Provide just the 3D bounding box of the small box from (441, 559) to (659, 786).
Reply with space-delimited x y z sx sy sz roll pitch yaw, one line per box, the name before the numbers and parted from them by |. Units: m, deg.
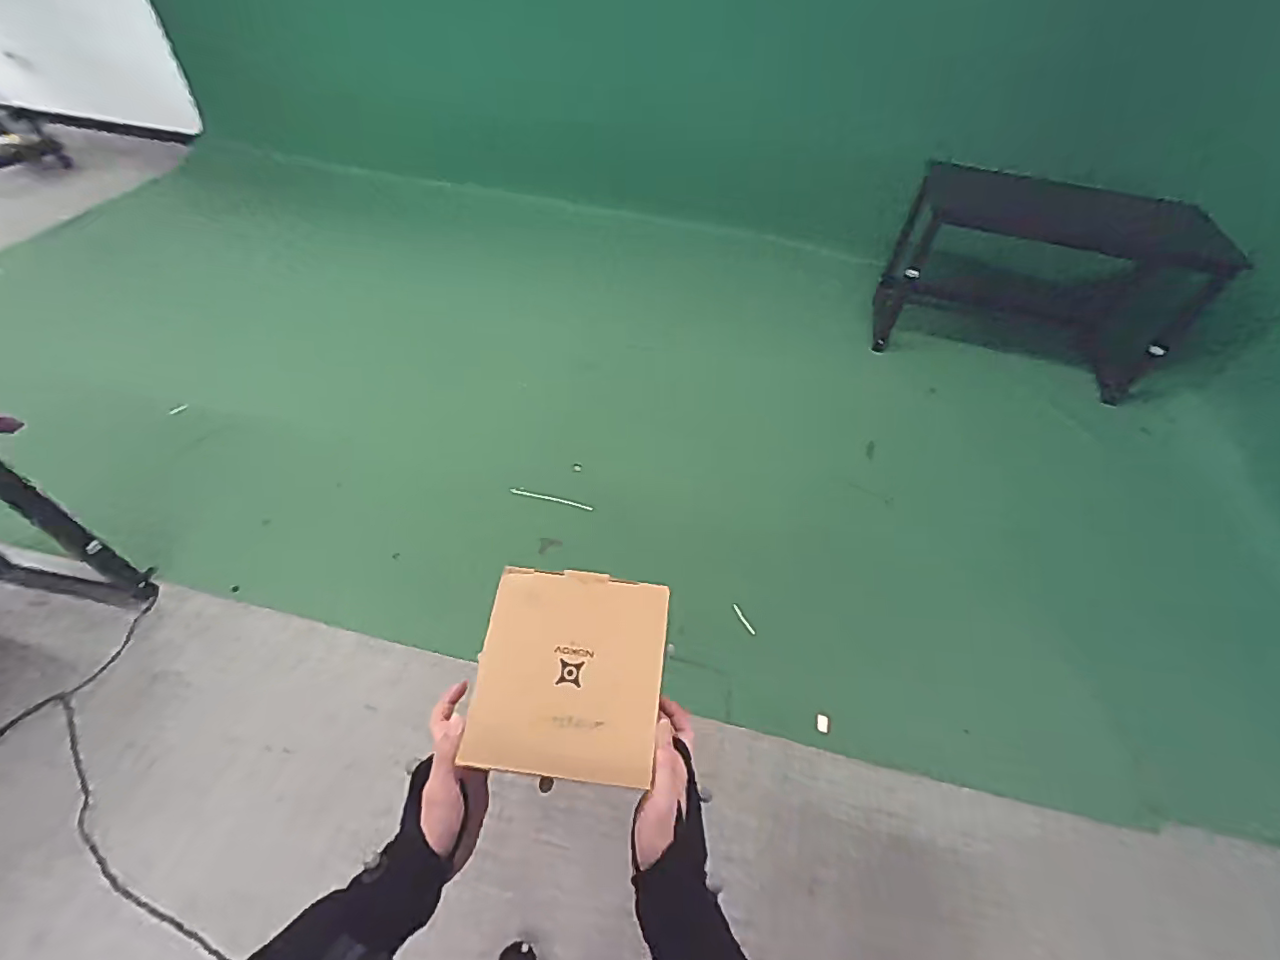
small box | -0.076 0.198 0.548 0.168 0.176 0.179 7 62 2
